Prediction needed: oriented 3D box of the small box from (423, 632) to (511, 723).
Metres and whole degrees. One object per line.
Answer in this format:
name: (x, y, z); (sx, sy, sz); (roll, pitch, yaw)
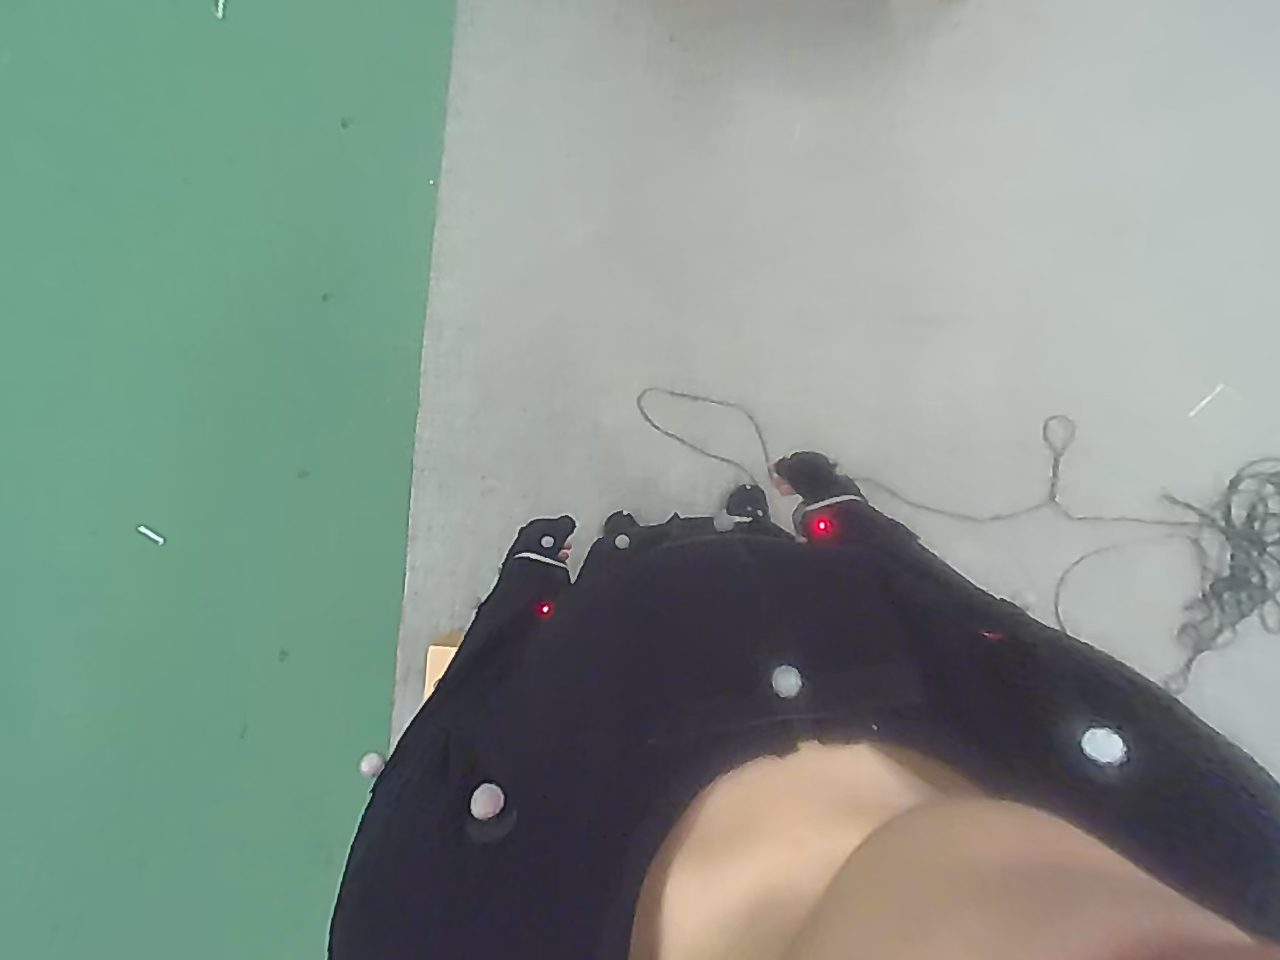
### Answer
small box: (-0.432, 0.495, 1.378); (0.168, 0.176, 0.179); (4, 87, 0)
